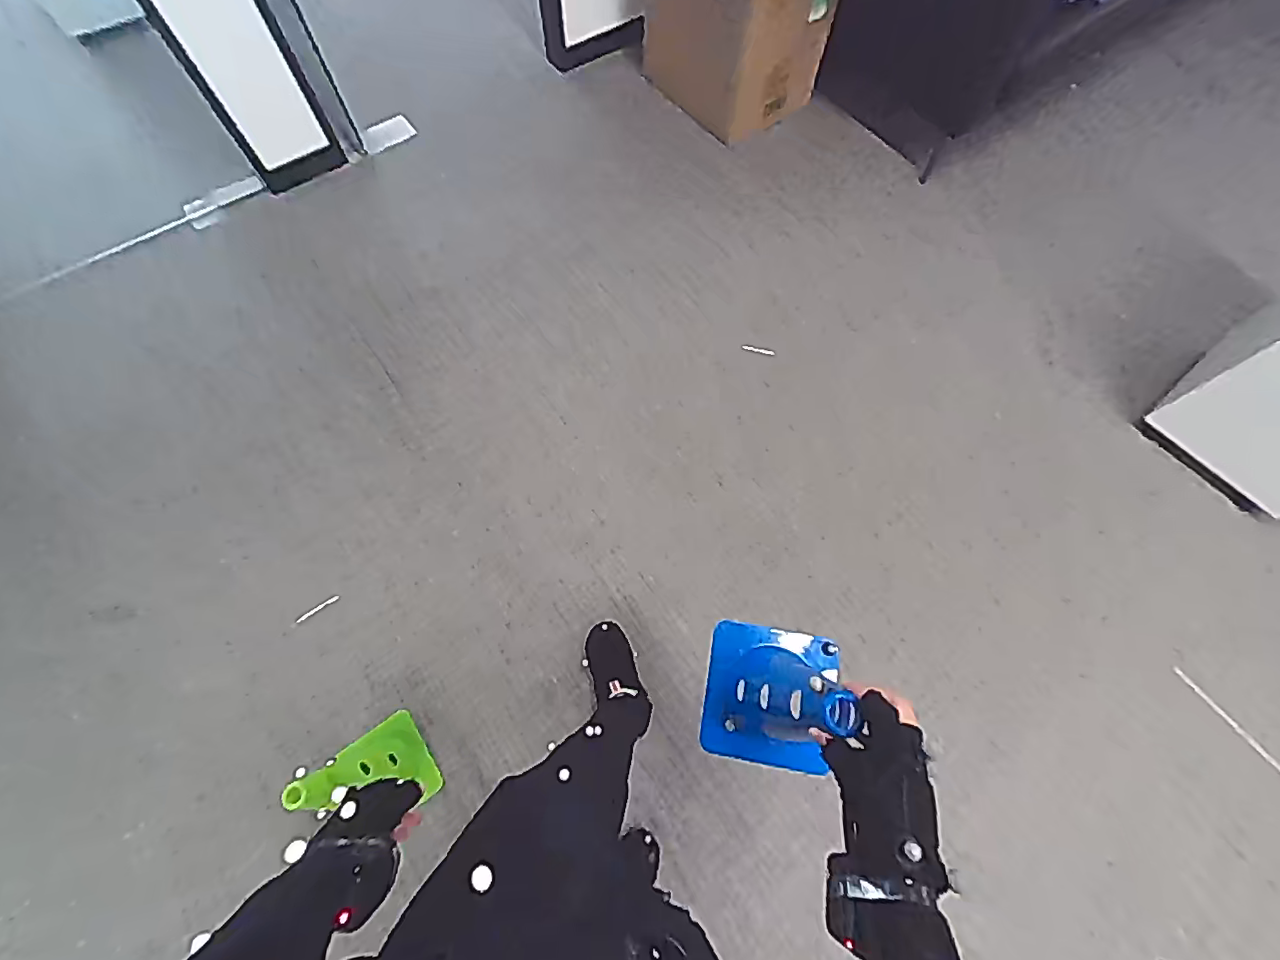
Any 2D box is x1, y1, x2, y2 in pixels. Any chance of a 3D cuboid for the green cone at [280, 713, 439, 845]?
[{"bbox_3d":[-0.569,0.587,1.036,0.202,0.368,0.200,-34,72,-15],"label":"green cone"}]
